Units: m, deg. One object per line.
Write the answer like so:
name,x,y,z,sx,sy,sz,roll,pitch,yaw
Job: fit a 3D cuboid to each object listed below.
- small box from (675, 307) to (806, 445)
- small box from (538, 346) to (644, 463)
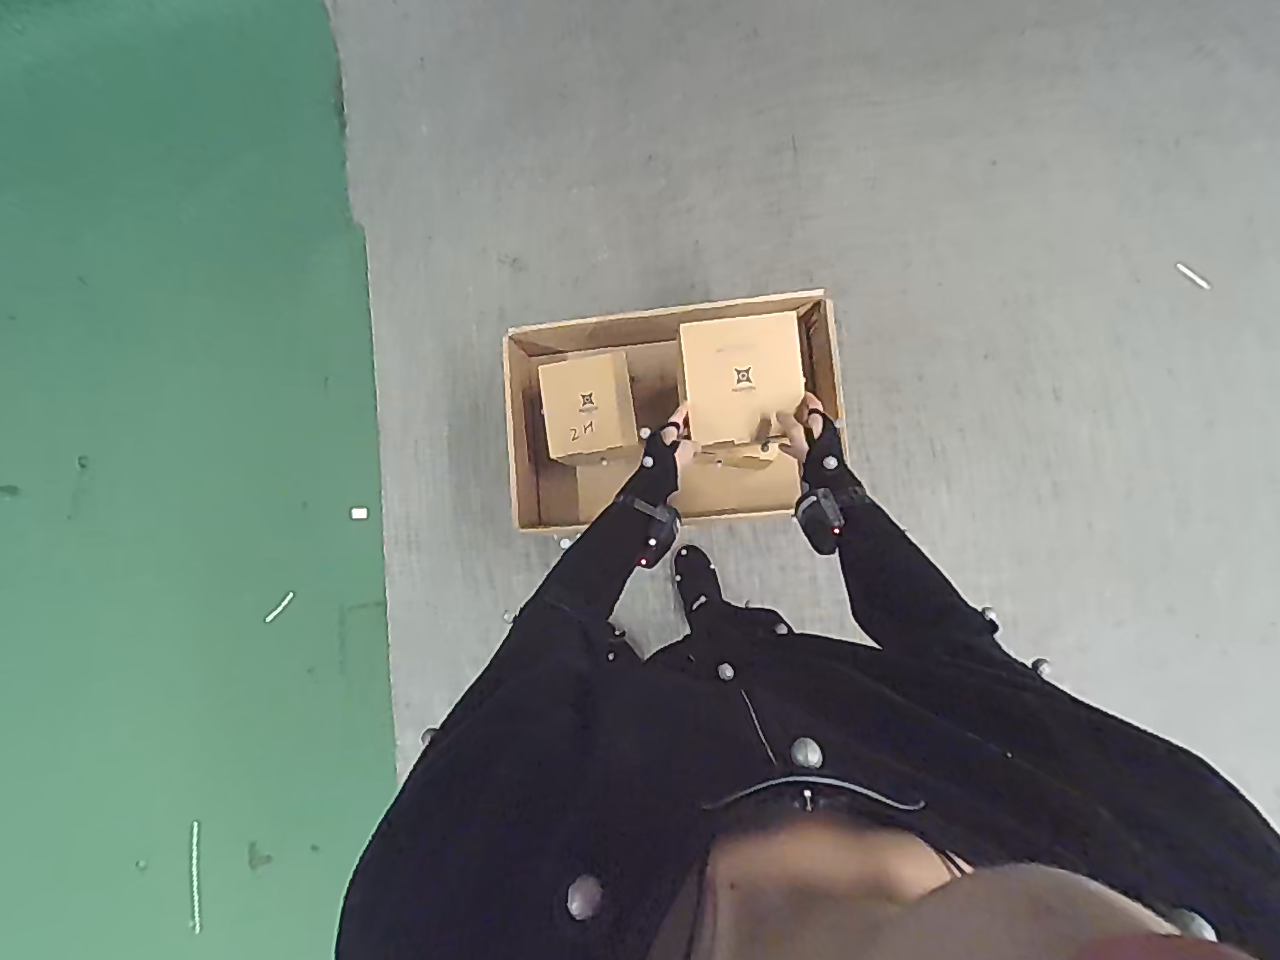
small box,0.142,-0.145,0.817,0.168,0.176,0.179,-5,90,1
small box,-0.088,-0.137,1.040,0.168,0.176,0.179,-8,85,6
